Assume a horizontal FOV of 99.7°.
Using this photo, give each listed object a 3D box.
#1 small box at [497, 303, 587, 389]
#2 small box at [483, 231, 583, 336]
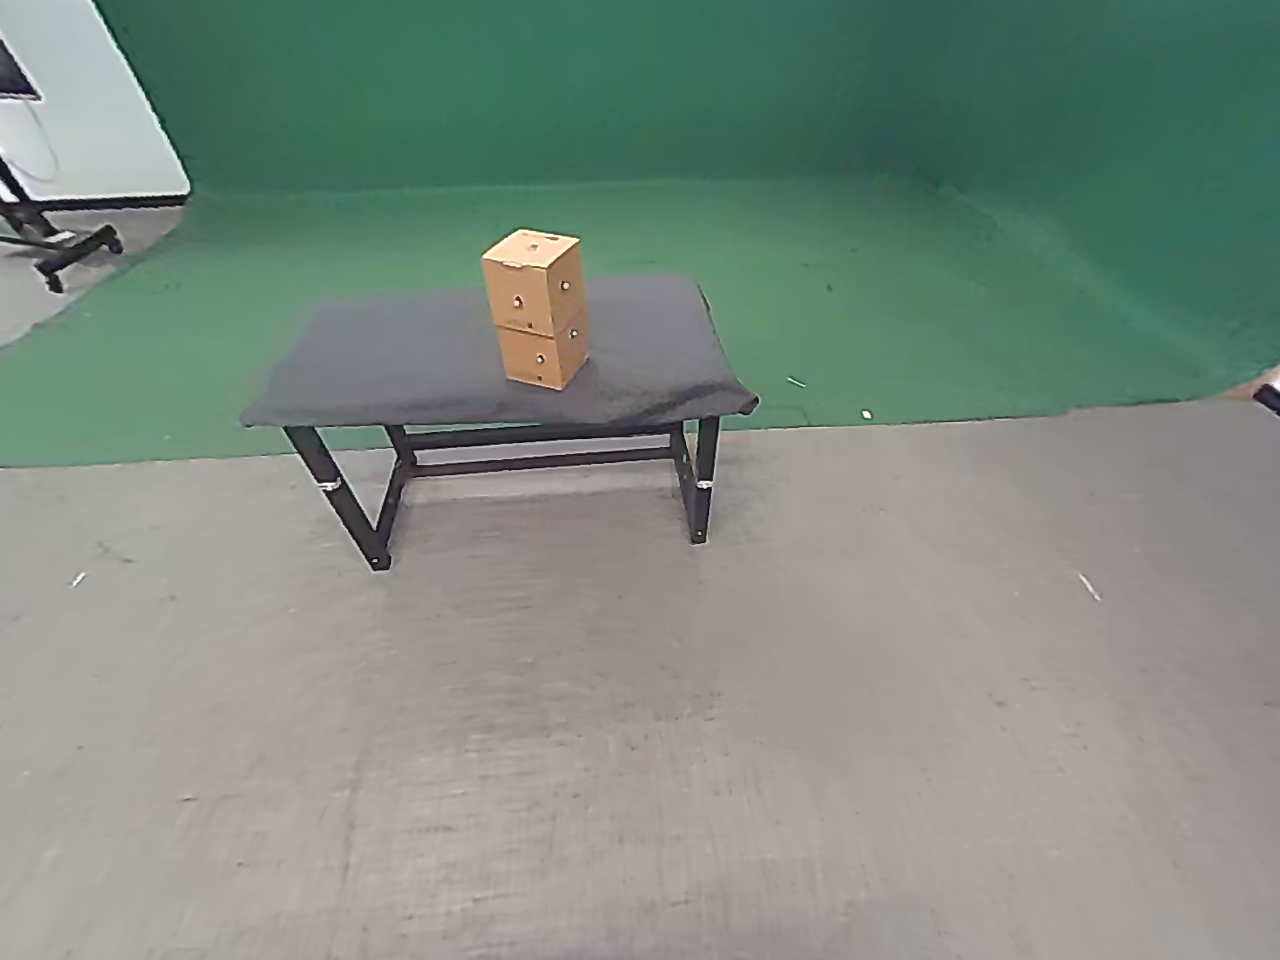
[{"bbox_3d":[-0.246,-0.362,1.417,0.168,0.176,0.179,16,47,14],"label":"small box"},{"bbox_3d":[-0.244,-0.468,1.291,0.168,0.176,0.179,16,49,14],"label":"small box"}]
